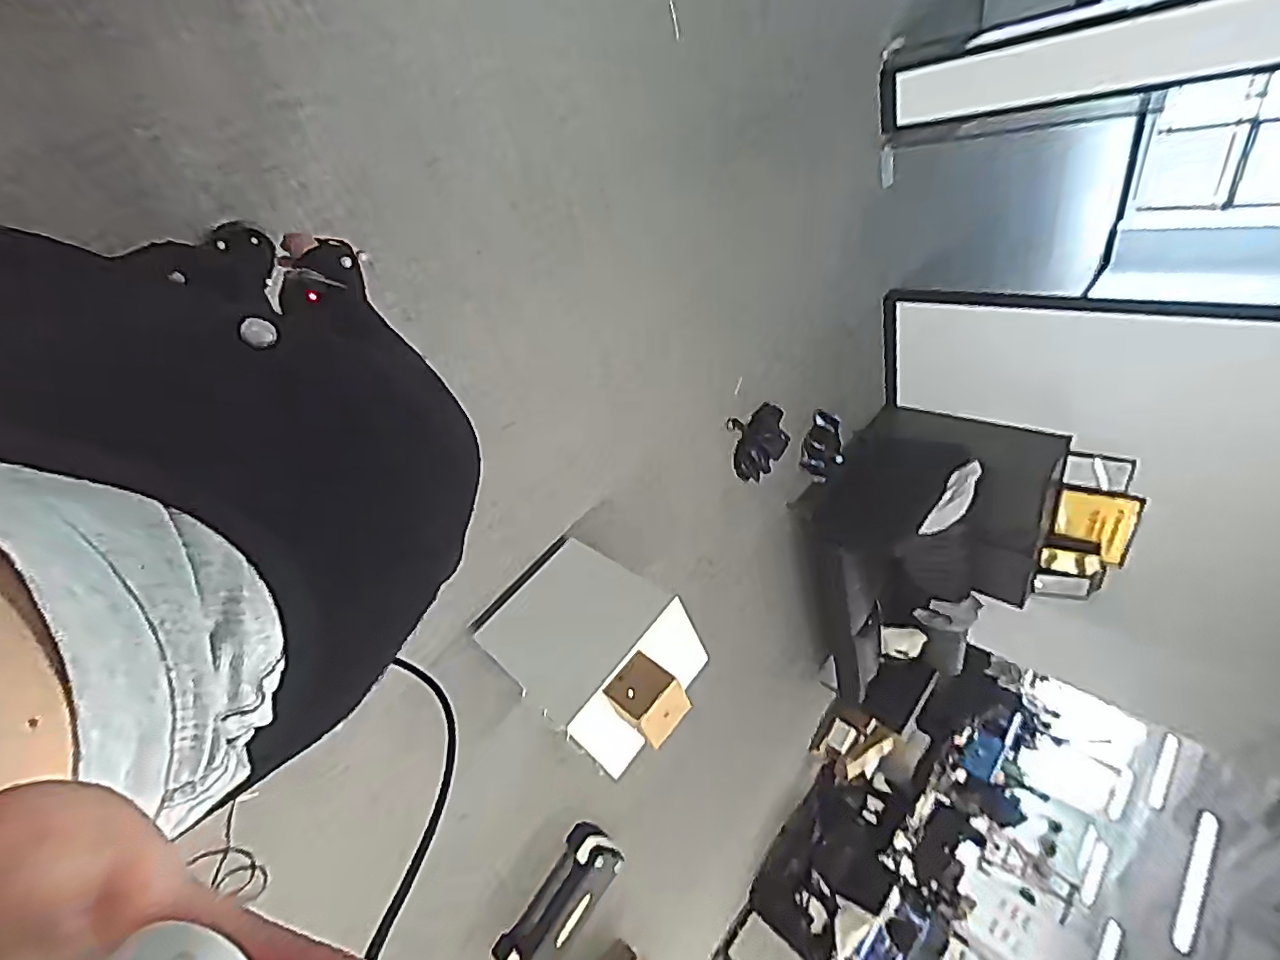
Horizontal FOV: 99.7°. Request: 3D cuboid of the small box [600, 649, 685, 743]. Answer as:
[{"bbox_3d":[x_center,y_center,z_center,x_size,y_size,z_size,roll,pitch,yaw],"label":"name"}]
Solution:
[{"bbox_3d":[0.005,0.637,1.617,0.168,0.176,0.179,-43,135,-24],"label":"small box"}]
